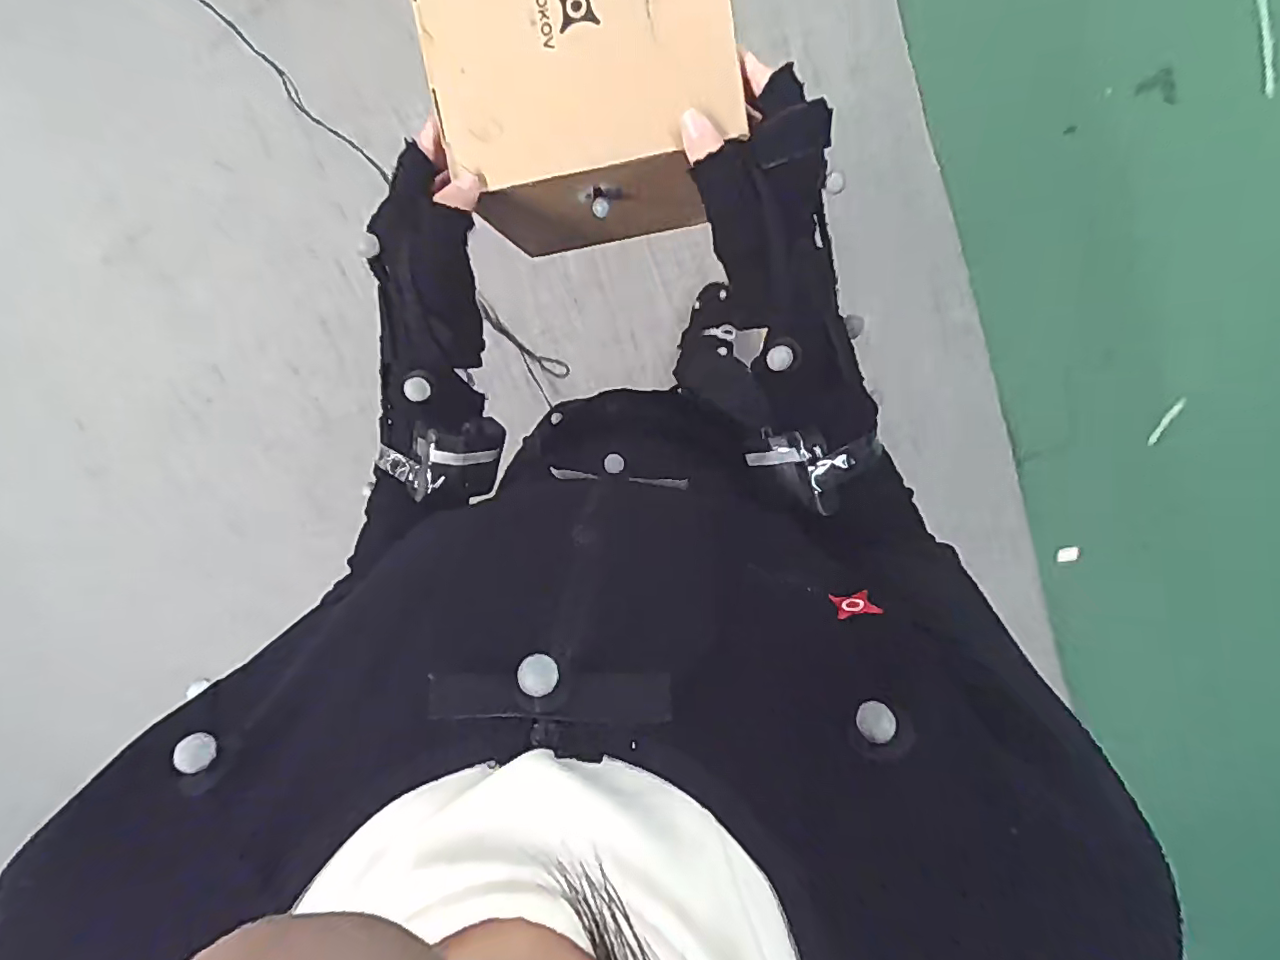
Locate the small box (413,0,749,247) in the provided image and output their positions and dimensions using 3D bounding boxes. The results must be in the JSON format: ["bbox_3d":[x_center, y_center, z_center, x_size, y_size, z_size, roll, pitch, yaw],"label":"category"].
[{"bbox_3d":[-0.031,-0.276,0.371,0.179,0.176,0.168,-10,100,6],"label":"small box"}]
